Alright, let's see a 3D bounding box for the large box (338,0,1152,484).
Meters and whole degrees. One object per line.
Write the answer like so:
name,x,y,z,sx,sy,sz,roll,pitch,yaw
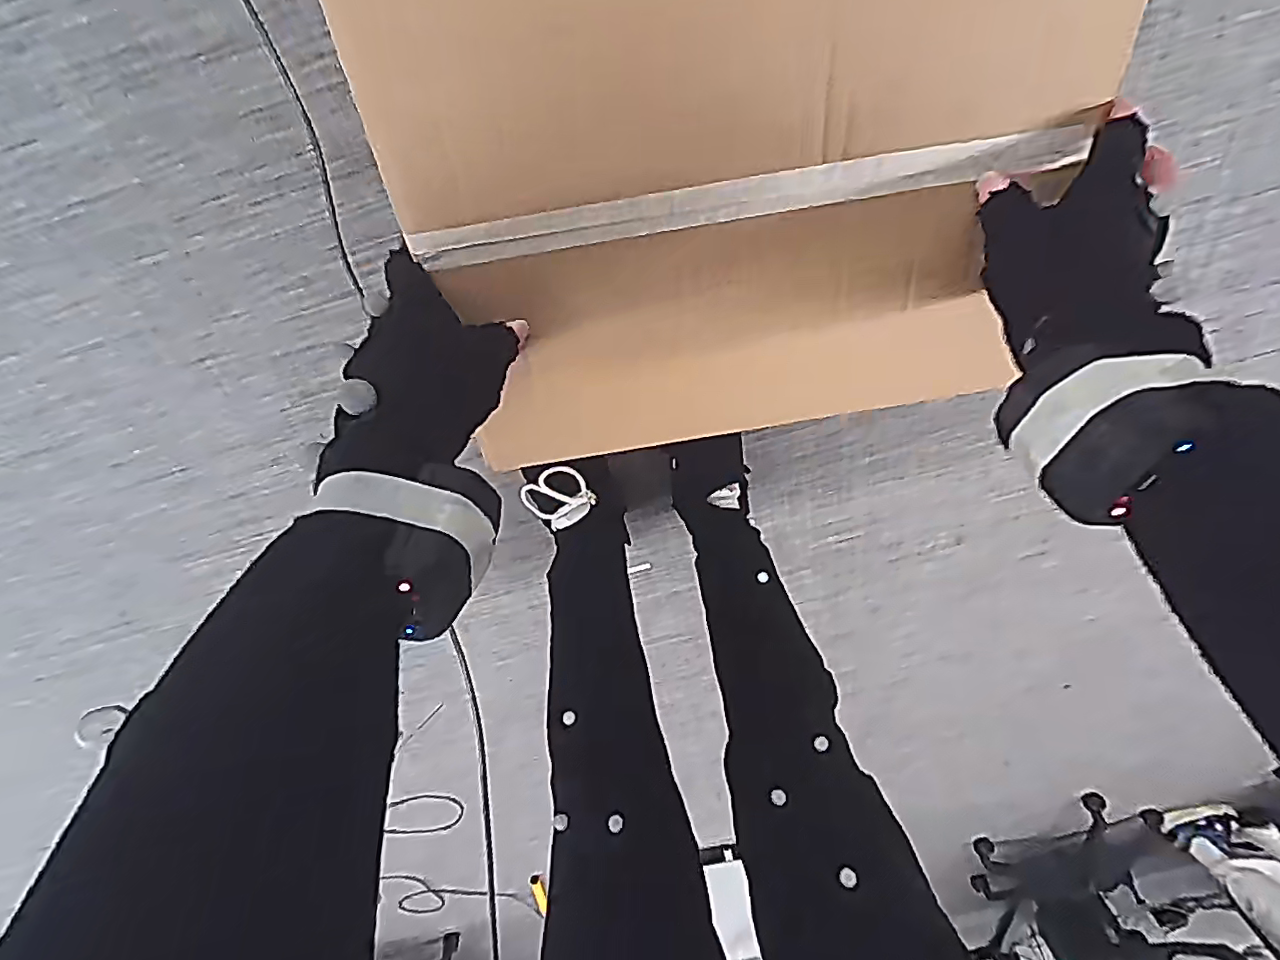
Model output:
large box,0.056,-0.237,0.440,0.408,0.320,0.320,-9,127,-1
